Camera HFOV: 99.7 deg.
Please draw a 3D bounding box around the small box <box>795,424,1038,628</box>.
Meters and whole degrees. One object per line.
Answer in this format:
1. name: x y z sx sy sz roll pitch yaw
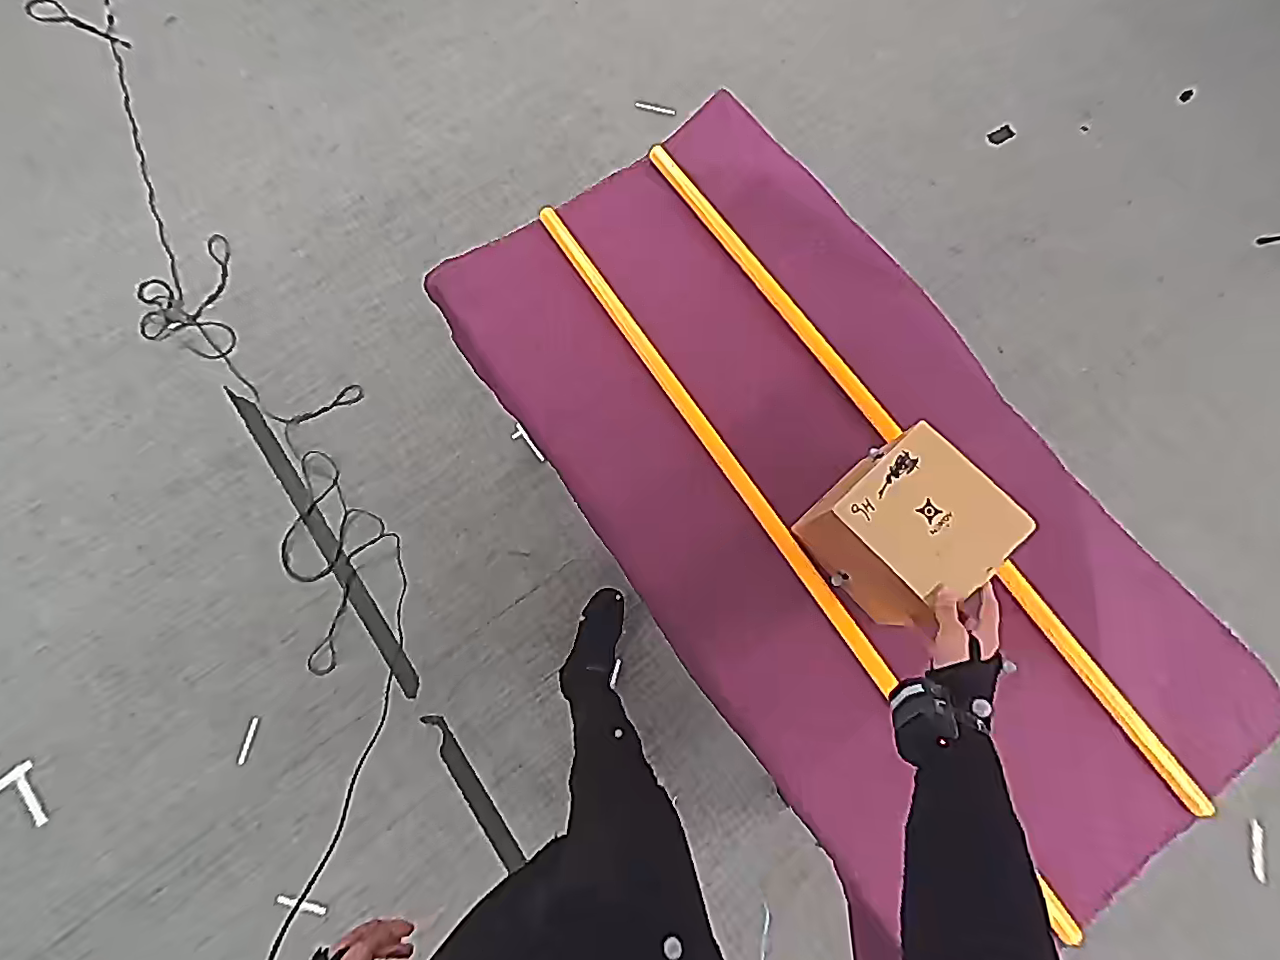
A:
1. small box: 0.331 0.063 0.685 0.168 0.176 0.179 -41 81 -10
